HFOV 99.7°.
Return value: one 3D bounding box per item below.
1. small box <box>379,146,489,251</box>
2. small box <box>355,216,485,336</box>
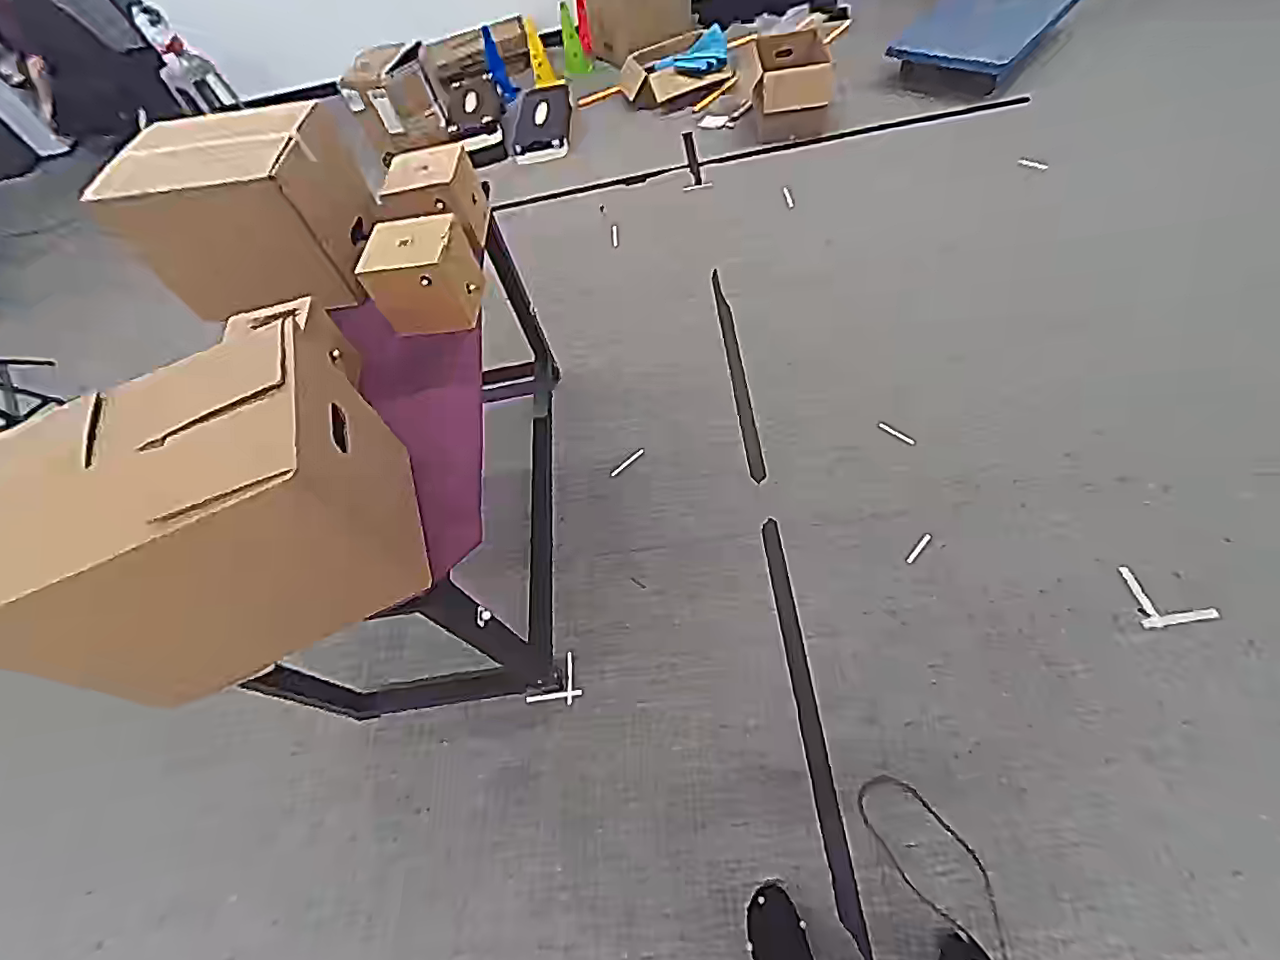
[{"bbox_3d":[-0.479,-0.654,1.290,0.179,0.176,0.168,-7,57,8],"label":"small box"},{"bbox_3d":[-0.453,-0.424,1.141,0.179,0.176,0.168,-4,57,7],"label":"small box"}]
